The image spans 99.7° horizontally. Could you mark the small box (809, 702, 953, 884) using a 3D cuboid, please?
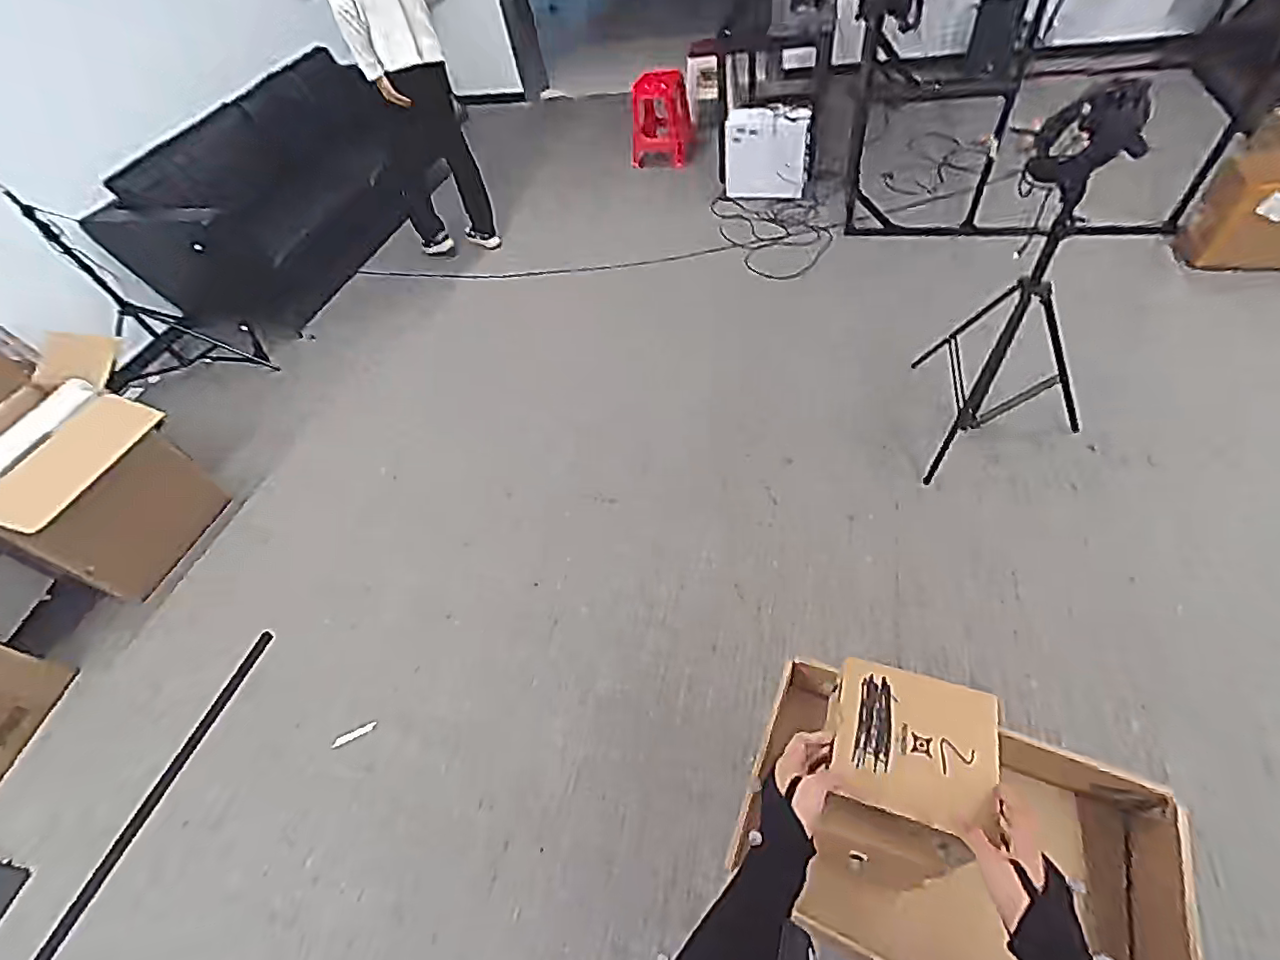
[{"bbox_3d":[0.351,0.465,0.804,0.168,0.176,0.179,10,53,19],"label":"small box"}]

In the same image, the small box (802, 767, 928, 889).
[{"bbox_3d":[0.383,0.571,0.925,0.179,0.176,0.168,13,55,19],"label":"small box"}]
